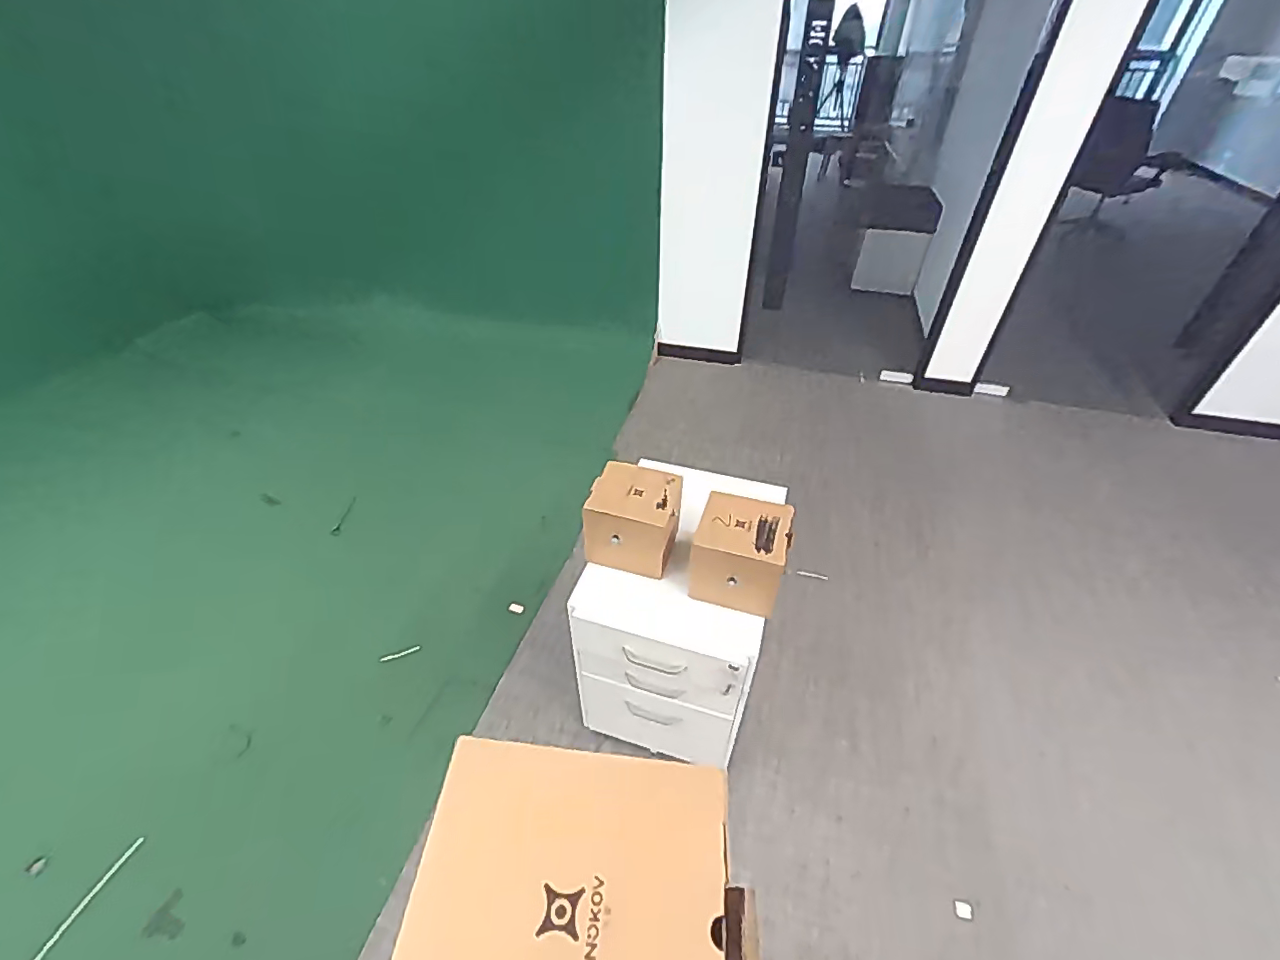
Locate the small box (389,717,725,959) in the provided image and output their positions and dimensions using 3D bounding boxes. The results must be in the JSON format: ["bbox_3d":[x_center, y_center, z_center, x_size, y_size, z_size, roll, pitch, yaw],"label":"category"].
[{"bbox_3d":[-0.045,0.281,0.361,0.179,0.176,0.168,8,46,0],"label":"small box"}]

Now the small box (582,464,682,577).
[{"bbox_3d":[-0.016,0.091,1.190,0.179,0.176,0.168,12,42,12],"label":"small box"}]
